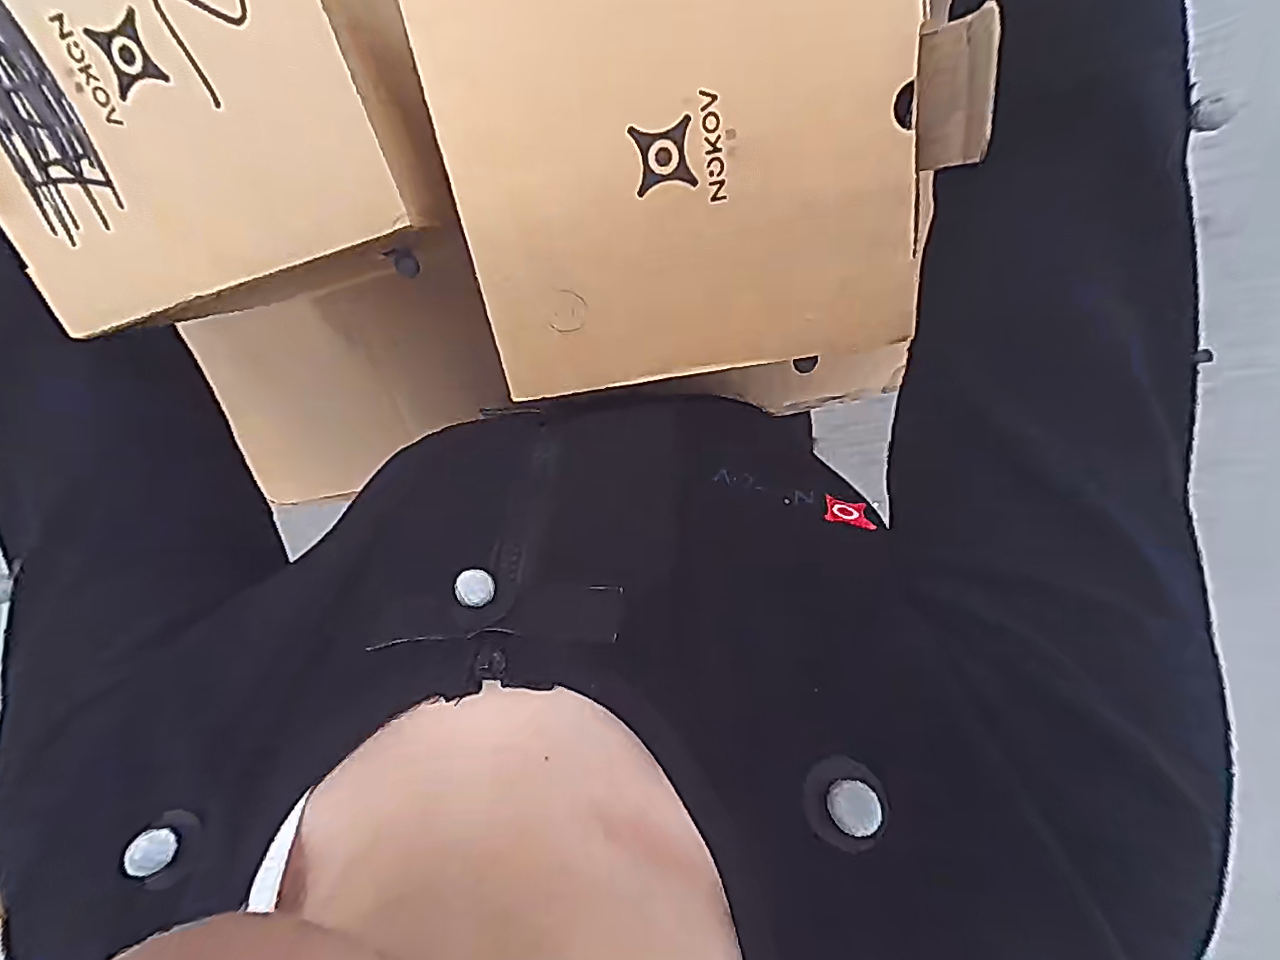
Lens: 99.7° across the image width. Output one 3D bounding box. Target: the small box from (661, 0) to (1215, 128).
[{"bbox_3d":[0.104,-0.237,0.209,0.179,0.176,0.168,5,122,2],"label":"small box"}]
